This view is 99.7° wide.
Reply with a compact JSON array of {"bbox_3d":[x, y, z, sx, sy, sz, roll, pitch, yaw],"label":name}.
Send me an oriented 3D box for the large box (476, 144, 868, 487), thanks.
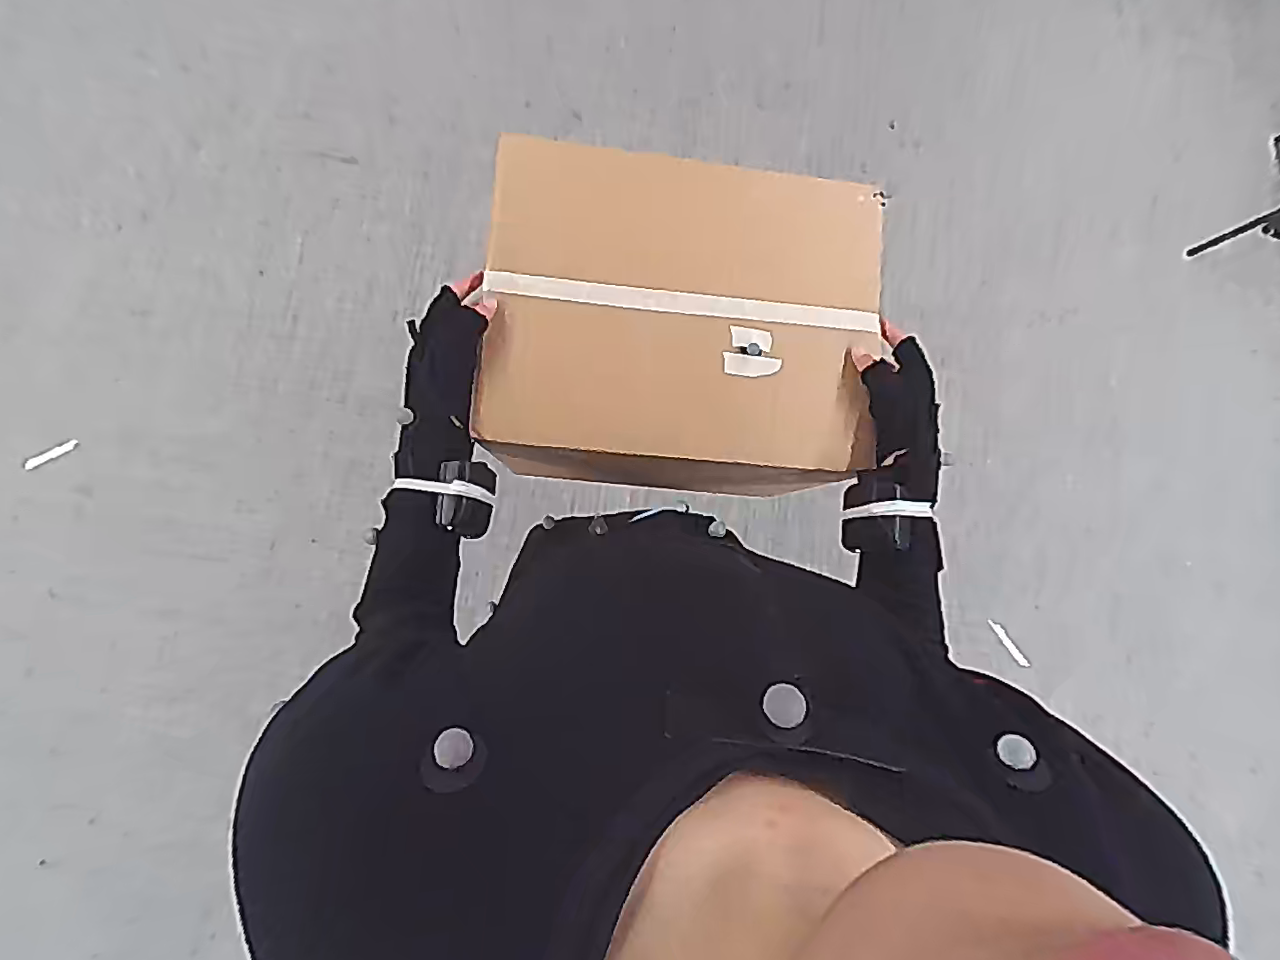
[{"bbox_3d":[0.027,-0.168,0.706,0.408,0.320,0.320,5,84,-6],"label":"large box"}]
